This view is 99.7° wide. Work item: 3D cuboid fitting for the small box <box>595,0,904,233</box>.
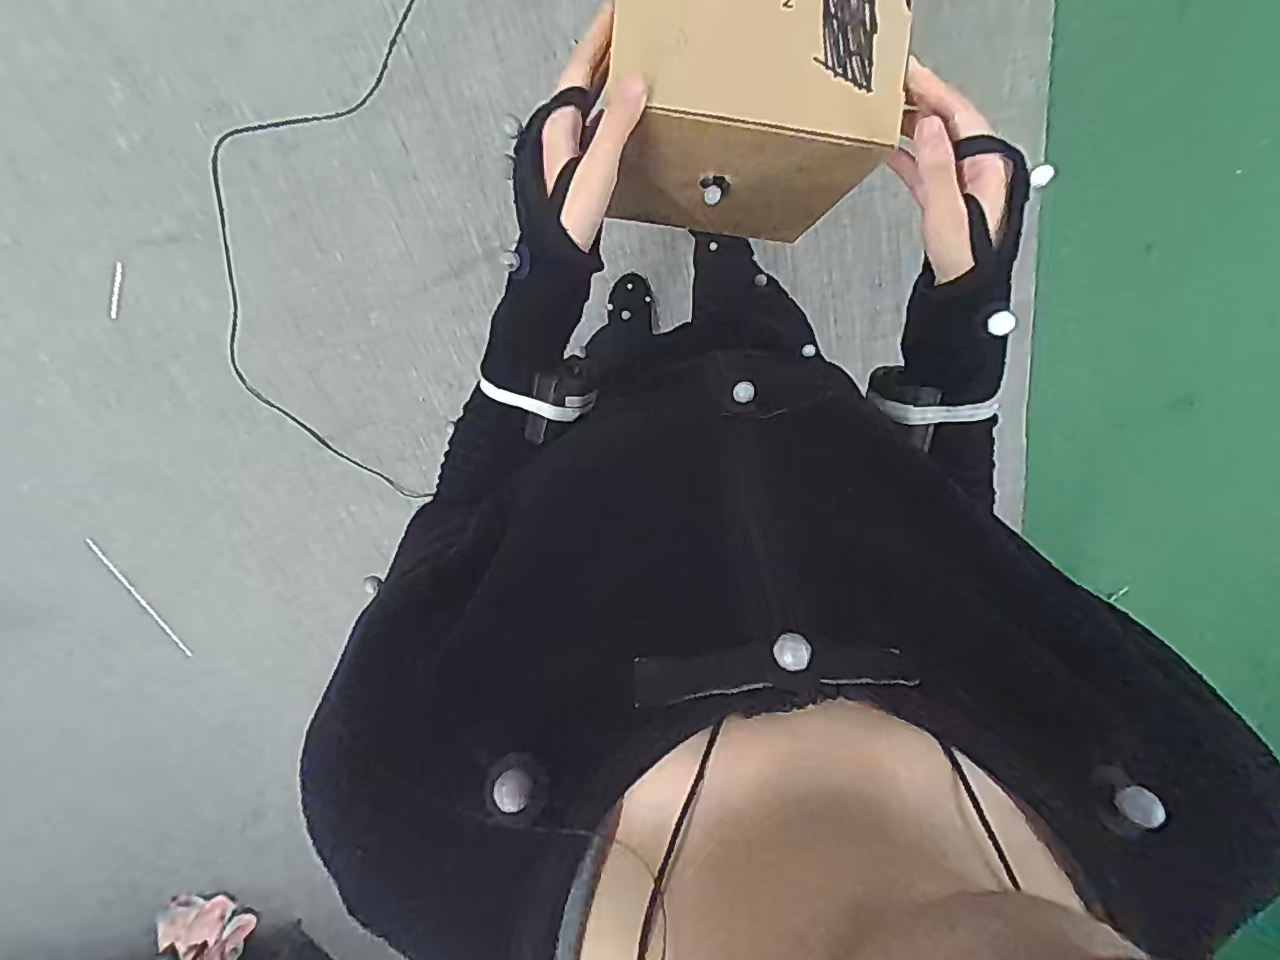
[{"bbox_3d":[0.063,-0.294,0.388,0.179,0.176,0.168,5,95,-5],"label":"small box"}]
